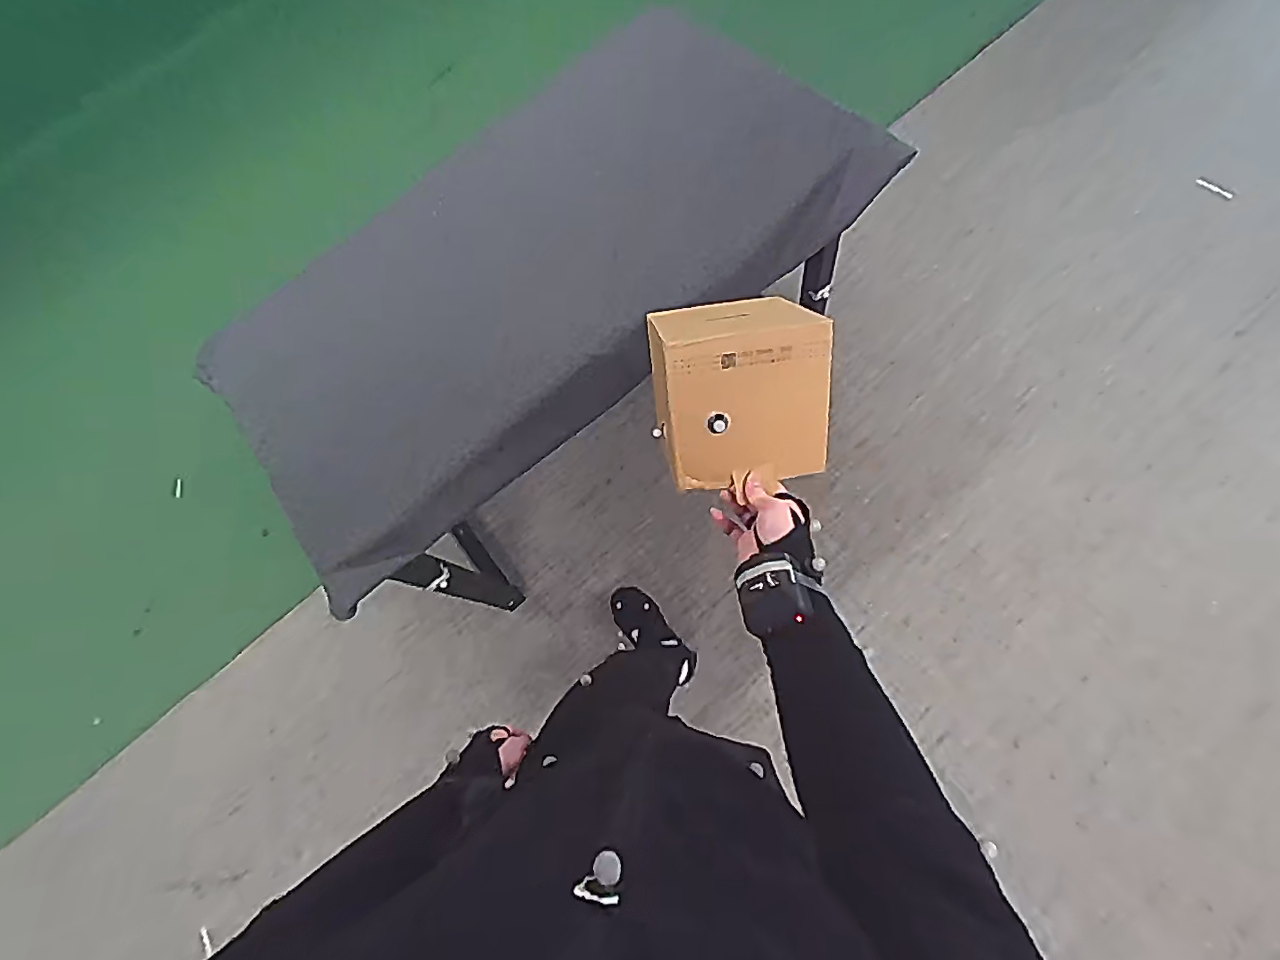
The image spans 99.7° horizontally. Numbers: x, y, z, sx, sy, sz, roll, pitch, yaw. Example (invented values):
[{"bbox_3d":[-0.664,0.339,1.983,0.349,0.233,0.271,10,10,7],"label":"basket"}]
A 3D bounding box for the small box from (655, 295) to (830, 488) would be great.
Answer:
[{"bbox_3d":[0.110,-0.111,0.632,0.168,0.176,0.179,-6,28,-3],"label":"small box"}]
